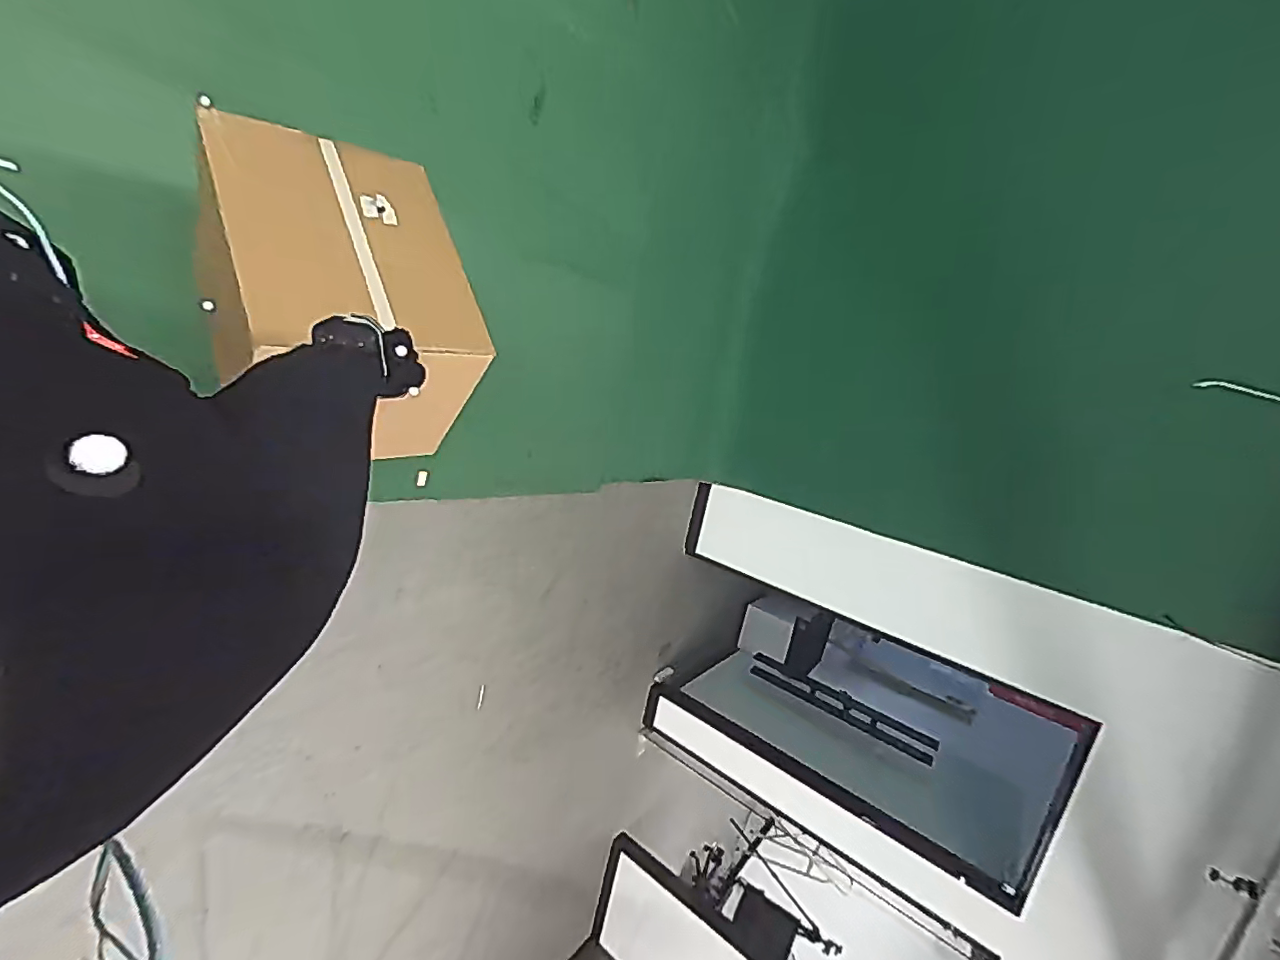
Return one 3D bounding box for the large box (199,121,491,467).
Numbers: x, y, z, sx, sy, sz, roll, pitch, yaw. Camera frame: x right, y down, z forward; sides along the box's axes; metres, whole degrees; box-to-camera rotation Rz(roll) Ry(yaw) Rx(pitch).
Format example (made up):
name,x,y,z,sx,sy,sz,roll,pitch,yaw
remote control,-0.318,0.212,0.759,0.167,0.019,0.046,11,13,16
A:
name,x,y,z,sx,sy,sz,roll,pitch,yaw
large box,-0.504,-0.279,0.905,0.320,0.408,0.320,-9,158,-43
